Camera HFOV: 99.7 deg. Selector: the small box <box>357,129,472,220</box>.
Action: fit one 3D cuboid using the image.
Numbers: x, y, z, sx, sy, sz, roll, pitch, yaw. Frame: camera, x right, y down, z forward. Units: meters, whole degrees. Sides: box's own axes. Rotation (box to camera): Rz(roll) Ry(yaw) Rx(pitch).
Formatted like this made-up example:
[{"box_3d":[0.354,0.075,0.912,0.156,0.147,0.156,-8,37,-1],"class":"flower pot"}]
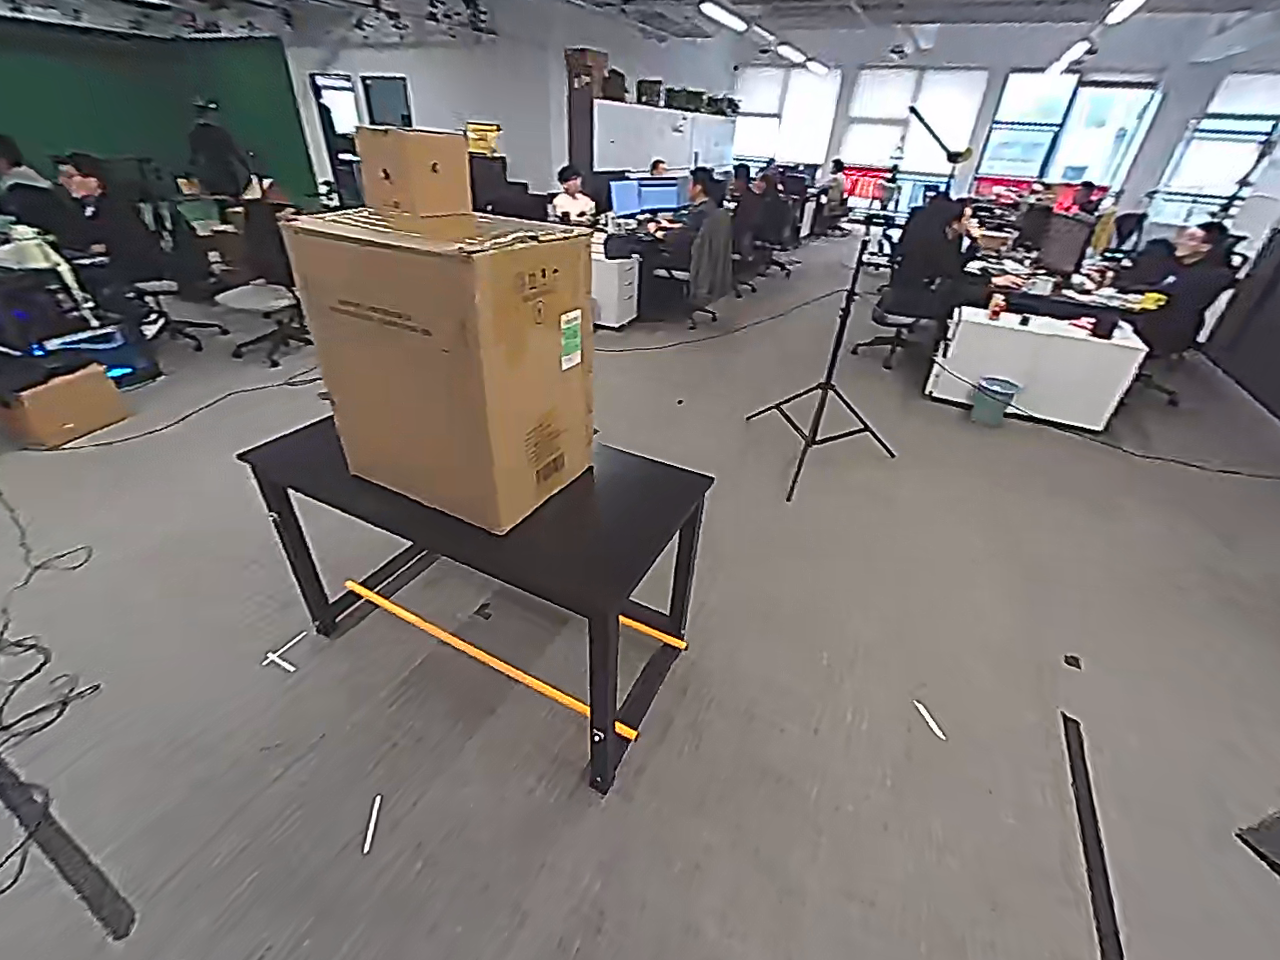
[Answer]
[{"box_3d":[-0.511,-0.706,1.253,0.168,0.176,0.179,20,35,22],"class":"small box"}]
